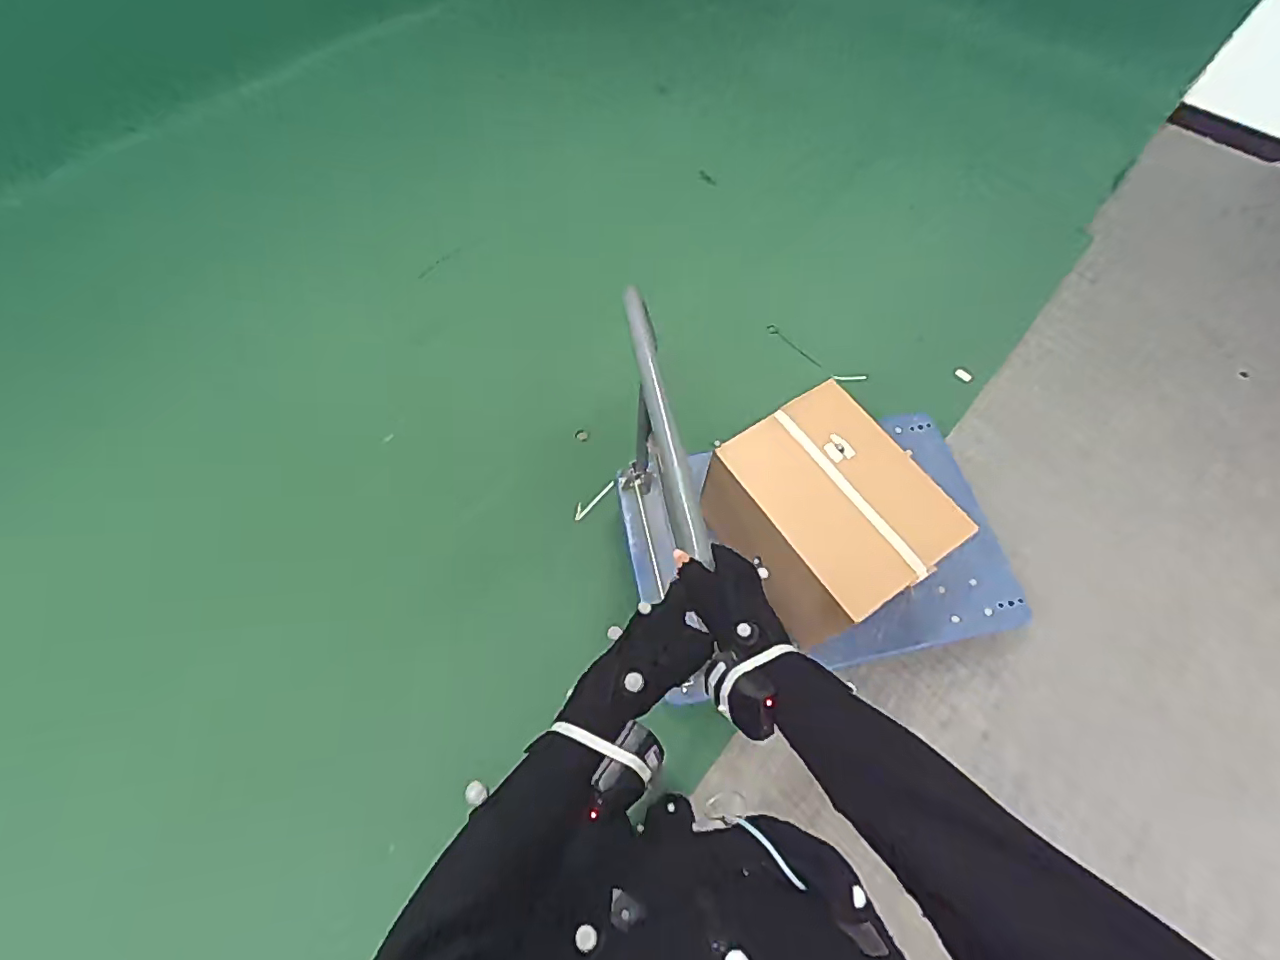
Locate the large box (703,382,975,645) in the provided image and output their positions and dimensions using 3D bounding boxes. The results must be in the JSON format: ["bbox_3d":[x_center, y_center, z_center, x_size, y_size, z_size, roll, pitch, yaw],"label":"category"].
[{"bbox_3d":[0.383,0.080,1.157,0.320,0.320,0.408,-30,67,-14],"label":"large box"}]
